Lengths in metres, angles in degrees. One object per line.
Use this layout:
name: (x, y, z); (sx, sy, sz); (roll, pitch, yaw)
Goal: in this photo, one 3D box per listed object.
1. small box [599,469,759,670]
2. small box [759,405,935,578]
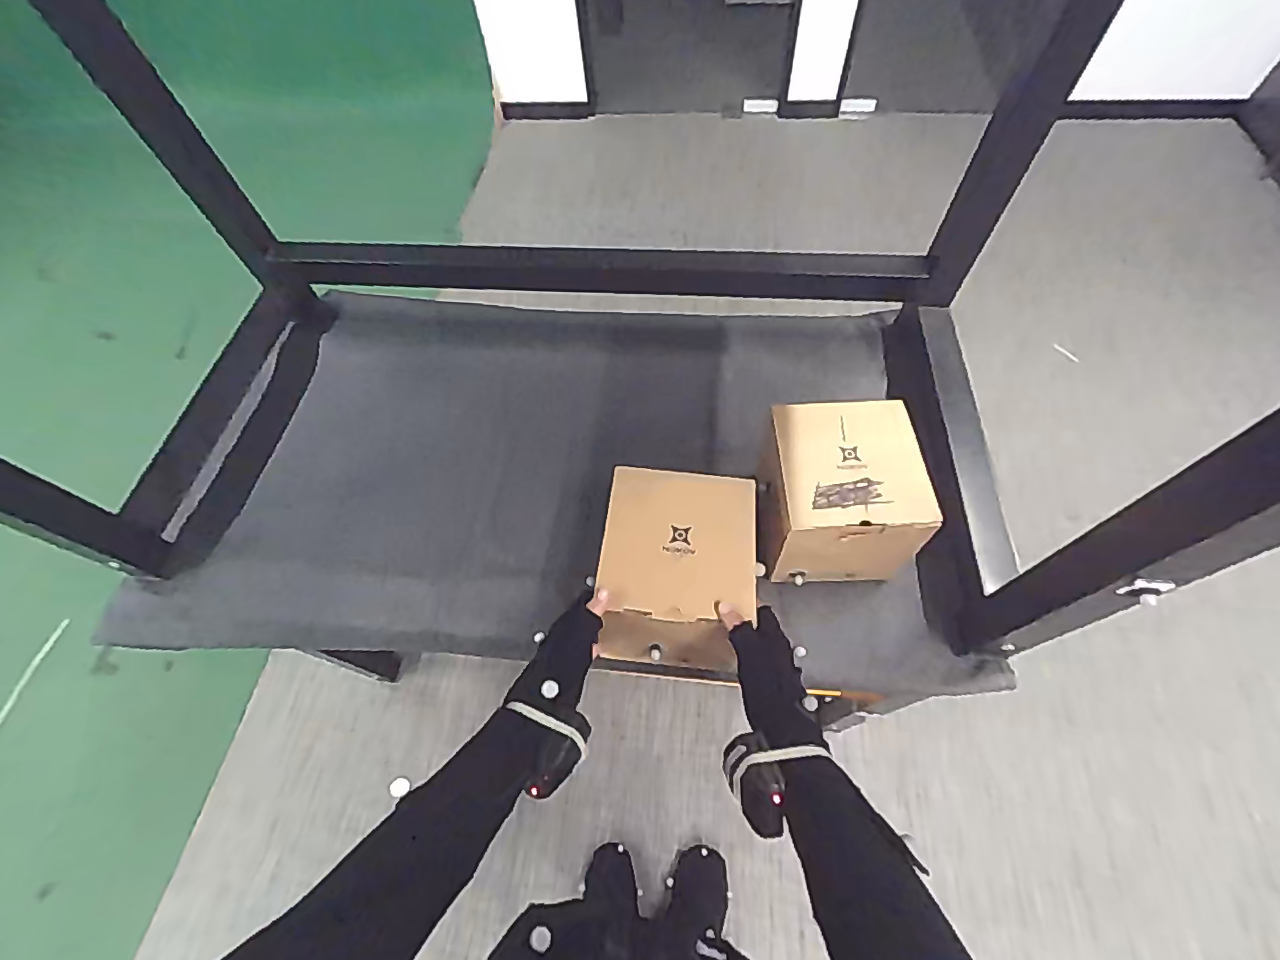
small box: (0.047, 0.112, 0.659); (0.168, 0.176, 0.179); (6, 55, 4)
small box: (0.254, 0.023, 0.713); (0.168, 0.176, 0.179); (-2, 58, 4)
